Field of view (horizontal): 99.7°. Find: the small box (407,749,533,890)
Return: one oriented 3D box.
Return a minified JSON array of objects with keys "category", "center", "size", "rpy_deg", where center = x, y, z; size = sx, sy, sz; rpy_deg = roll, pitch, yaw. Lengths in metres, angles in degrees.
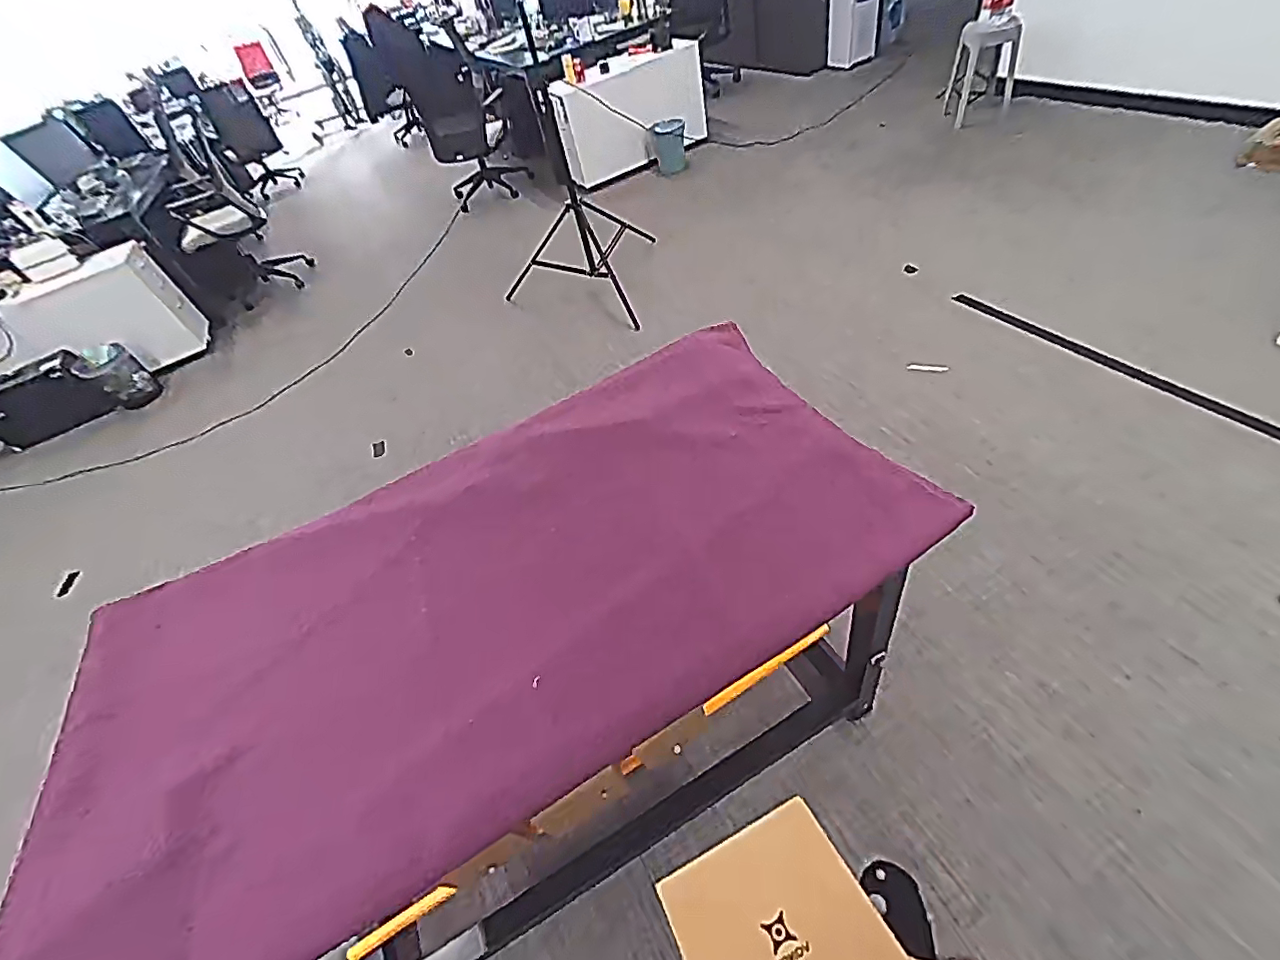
[{"category":"small box","center":[-0.340,0.688,1.092],"size":[0.168,0.176,0.179],"rpy_deg":[-28,50,-10]}]

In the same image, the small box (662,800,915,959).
[{"category":"small box","center":[0.140,0.446,0.488],"size":[0.168,0.176,0.179],"rpy_deg":[-25,34,-12]}]

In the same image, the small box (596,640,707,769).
[{"category":"small box","center":[0.028,0.489,1.172],"size":[0.168,0.176,0.179],"rpy_deg":[-31,51,-11]}]
